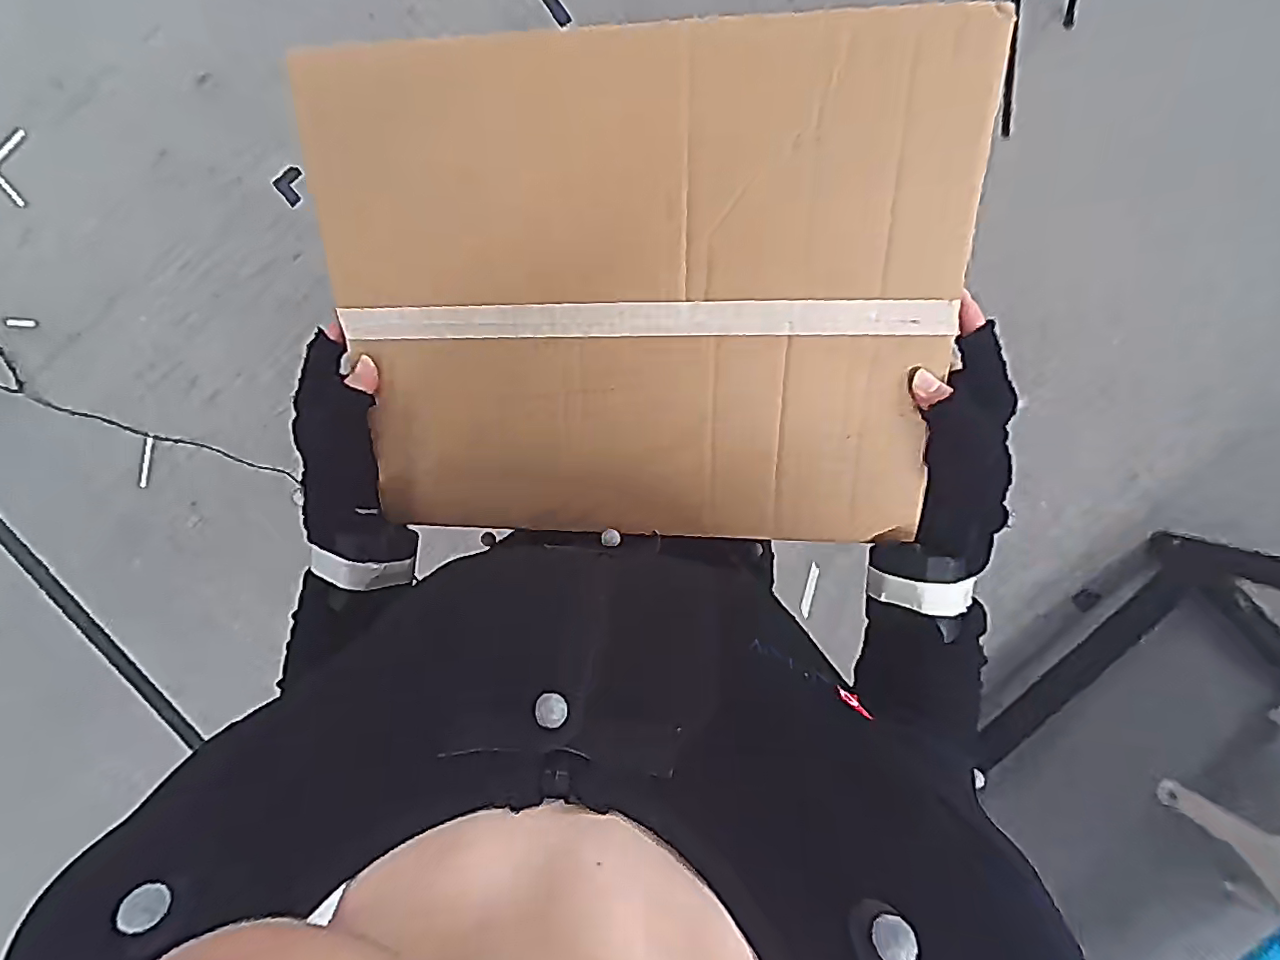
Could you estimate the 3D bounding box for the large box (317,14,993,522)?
[{"bbox_3d":[0.013,-0.168,0.505,0.408,0.320,0.320,1,114,6],"label":"large box"}]
